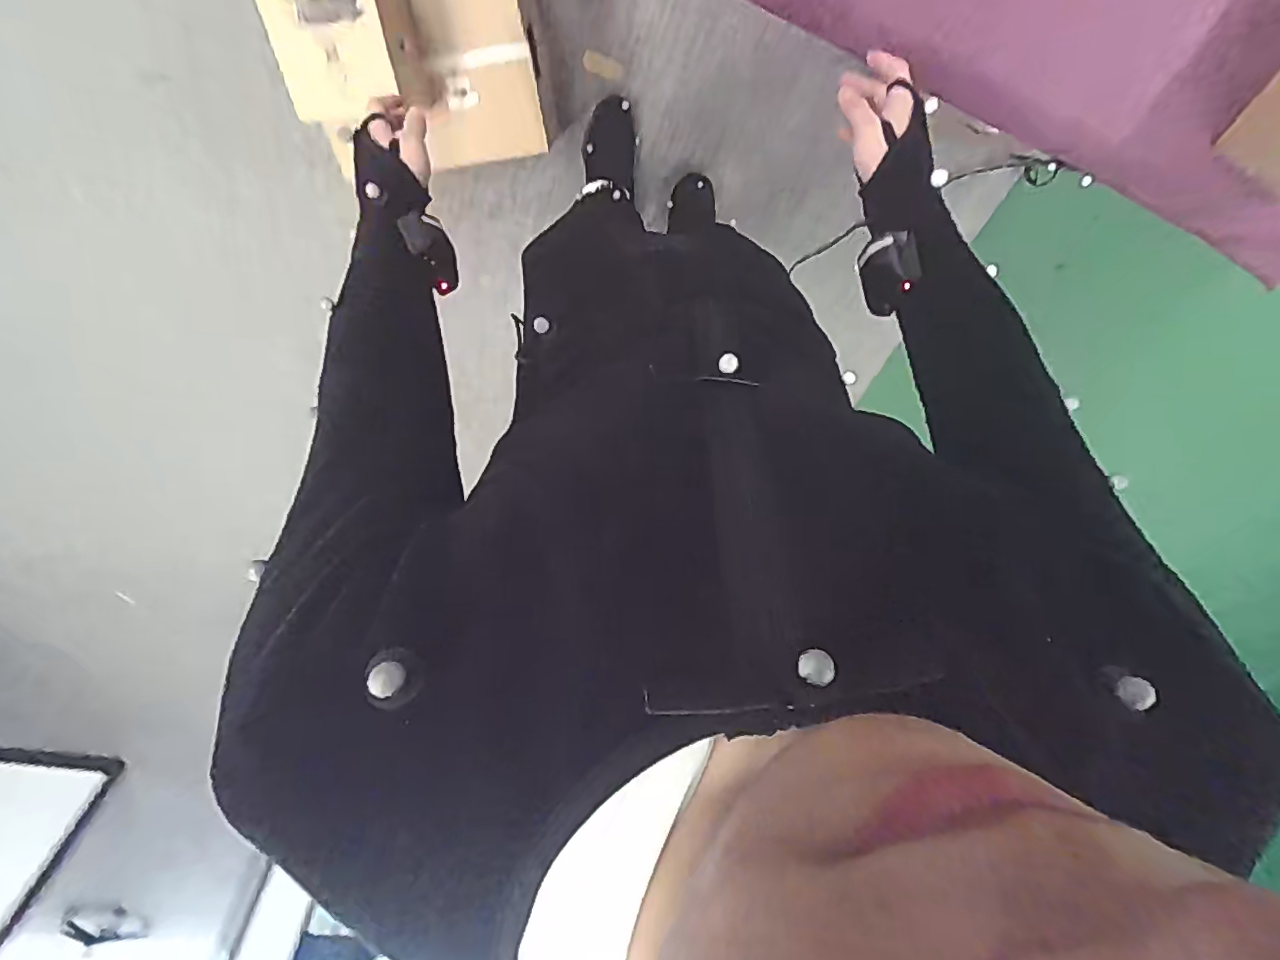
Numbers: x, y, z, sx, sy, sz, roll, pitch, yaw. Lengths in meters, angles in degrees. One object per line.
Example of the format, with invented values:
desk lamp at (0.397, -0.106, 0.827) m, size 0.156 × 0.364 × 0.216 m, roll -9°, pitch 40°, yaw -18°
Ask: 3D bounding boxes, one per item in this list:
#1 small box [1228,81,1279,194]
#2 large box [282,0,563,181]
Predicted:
small box at (0.837, -0.413, 0.589) m, size 0.168 × 0.176 × 0.179 m, roll 18°, pitch 122°, yaw -14°
large box at (-0.386, -0.816, 1.064) m, size 0.408 × 0.320 × 0.320 m, roll -8°, pitch 128°, yaw 2°
